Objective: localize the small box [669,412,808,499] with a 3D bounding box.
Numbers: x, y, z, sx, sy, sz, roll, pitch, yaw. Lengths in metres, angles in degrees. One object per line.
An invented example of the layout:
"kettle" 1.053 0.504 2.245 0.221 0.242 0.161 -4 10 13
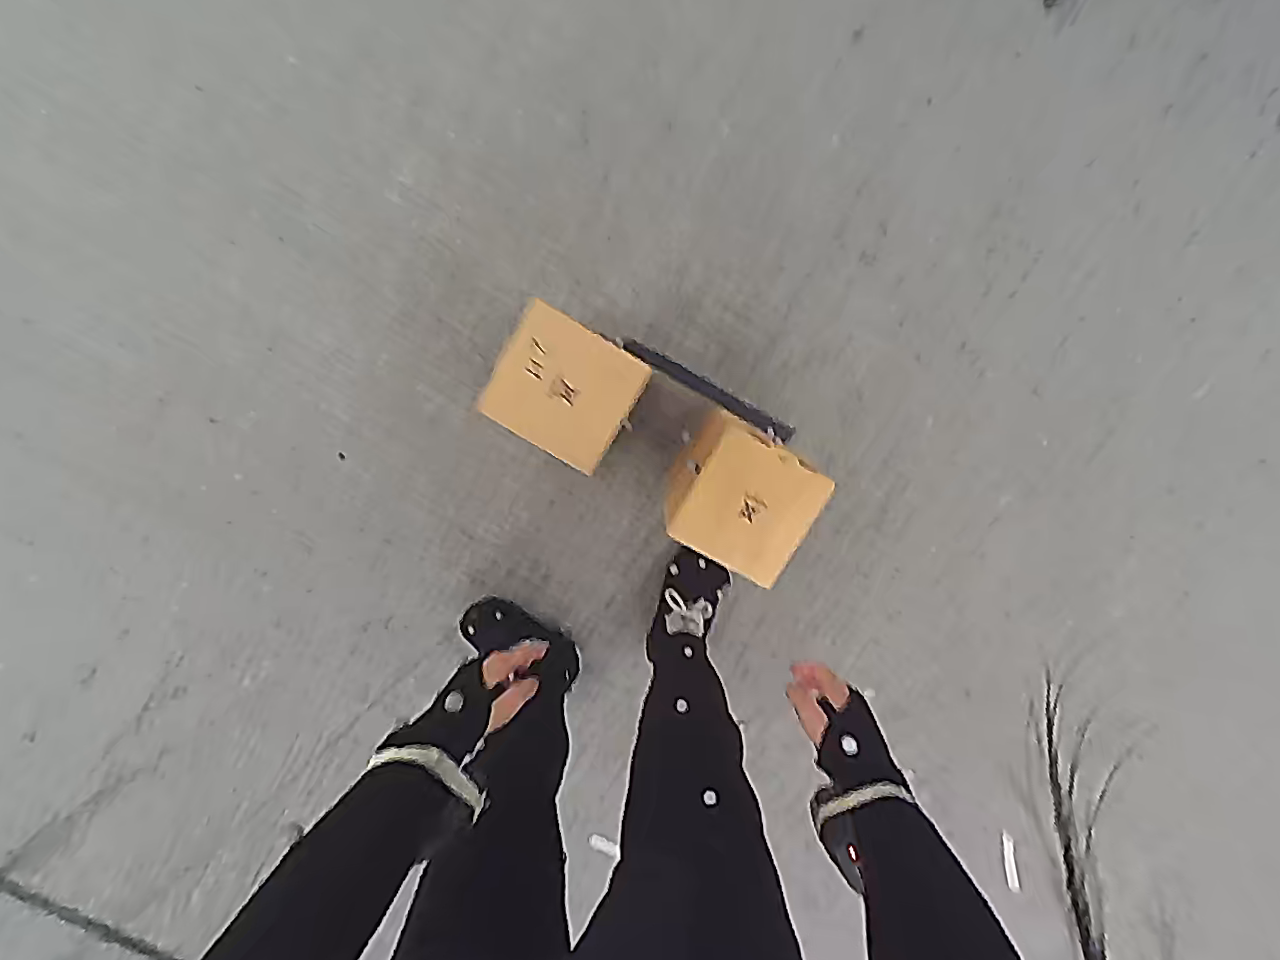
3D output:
"small box" 0.166 -0.011 0.966 0.179 0.176 0.168 31 100 -3

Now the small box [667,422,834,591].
"small box" 0.152 0.029 0.808 0.168 0.176 0.179 28 100 -4

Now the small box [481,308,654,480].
"small box" -0.093 -0.124 0.780 0.179 0.176 0.168 31 99 -4
